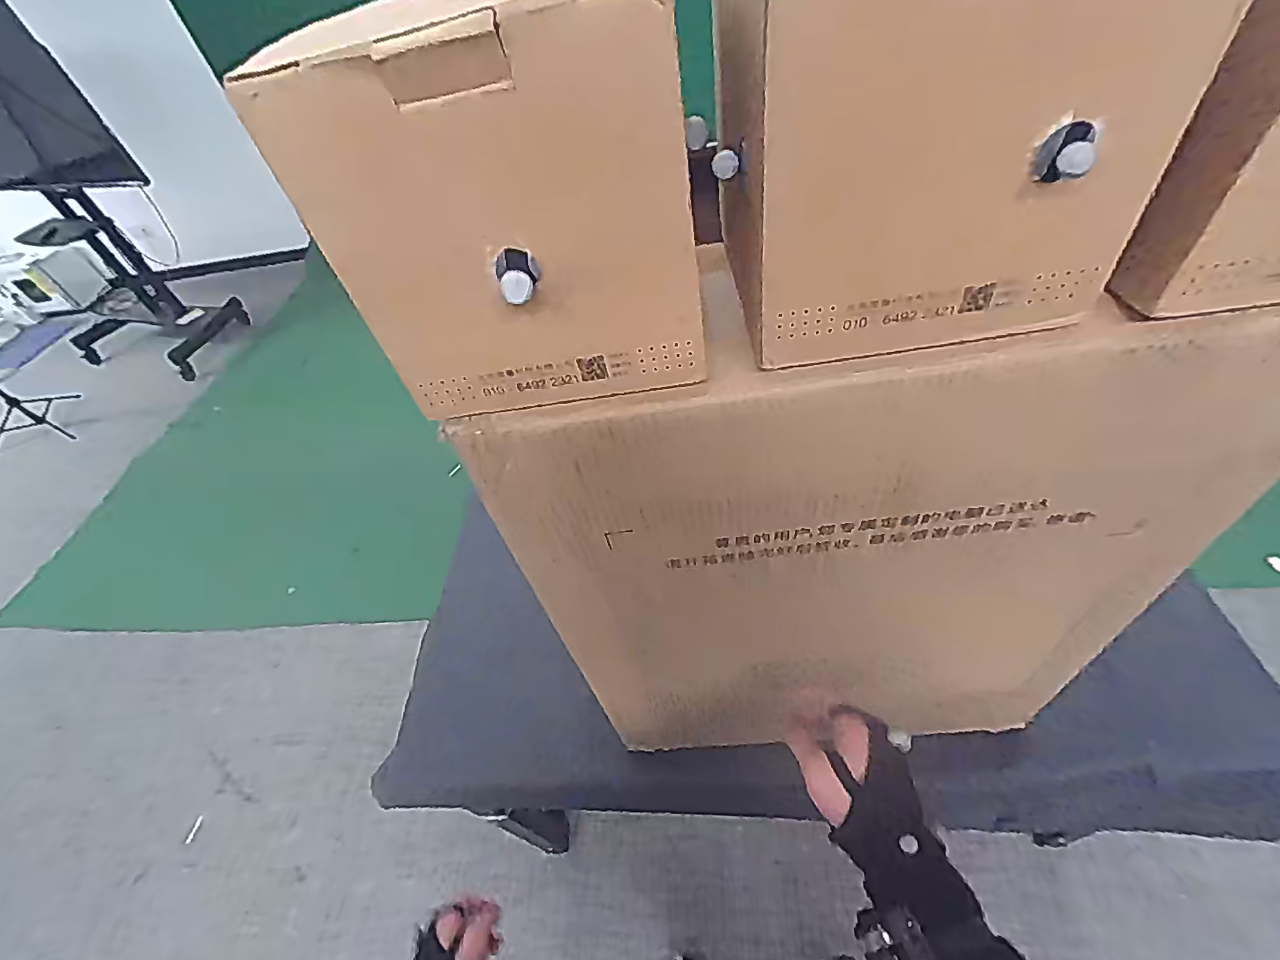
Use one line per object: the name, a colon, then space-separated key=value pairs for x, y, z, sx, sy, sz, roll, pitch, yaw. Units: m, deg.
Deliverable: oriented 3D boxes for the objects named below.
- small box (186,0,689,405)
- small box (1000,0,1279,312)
small box: x=-0.068 y=-0.156 z=0.293 sx=0.168 sy=0.176 sz=0.179 roll=-7 pitch=49 yaw=8
small box: x=0.306 y=-0.202 z=0.246 sx=0.168 sy=0.176 sz=0.179 roll=-6 pitch=49 yaw=6
